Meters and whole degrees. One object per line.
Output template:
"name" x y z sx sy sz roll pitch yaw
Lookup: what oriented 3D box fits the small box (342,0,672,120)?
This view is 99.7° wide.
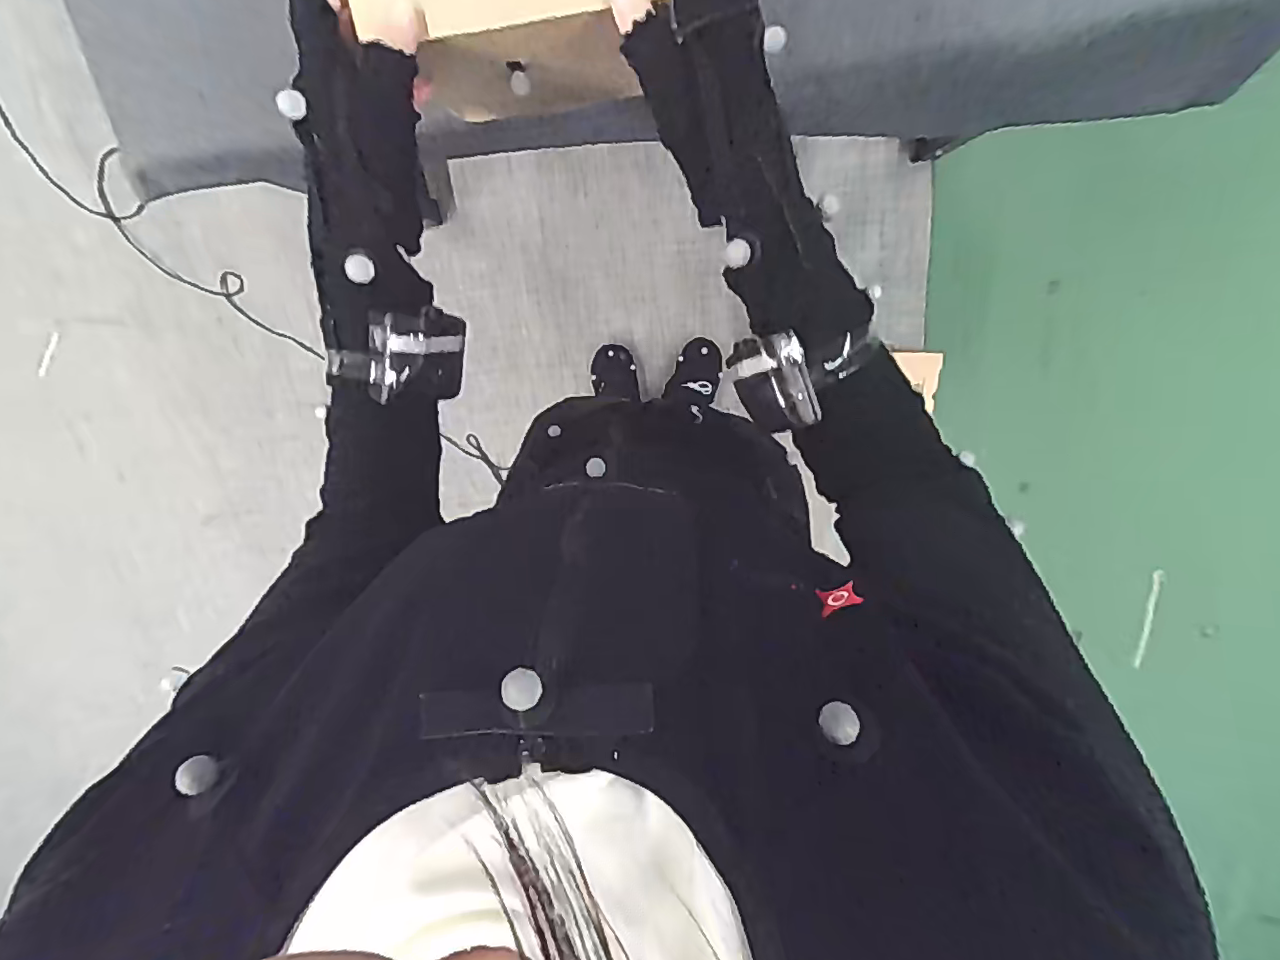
"small box" -0.074 -0.346 0.336 0.179 0.176 0.168 -4 111 6

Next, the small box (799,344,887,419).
"small box" 0.490 -0.230 1.276 0.179 0.176 0.168 3 107 3

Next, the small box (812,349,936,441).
"small box" 0.473 -0.181 1.119 0.179 0.176 0.168 2 107 2
